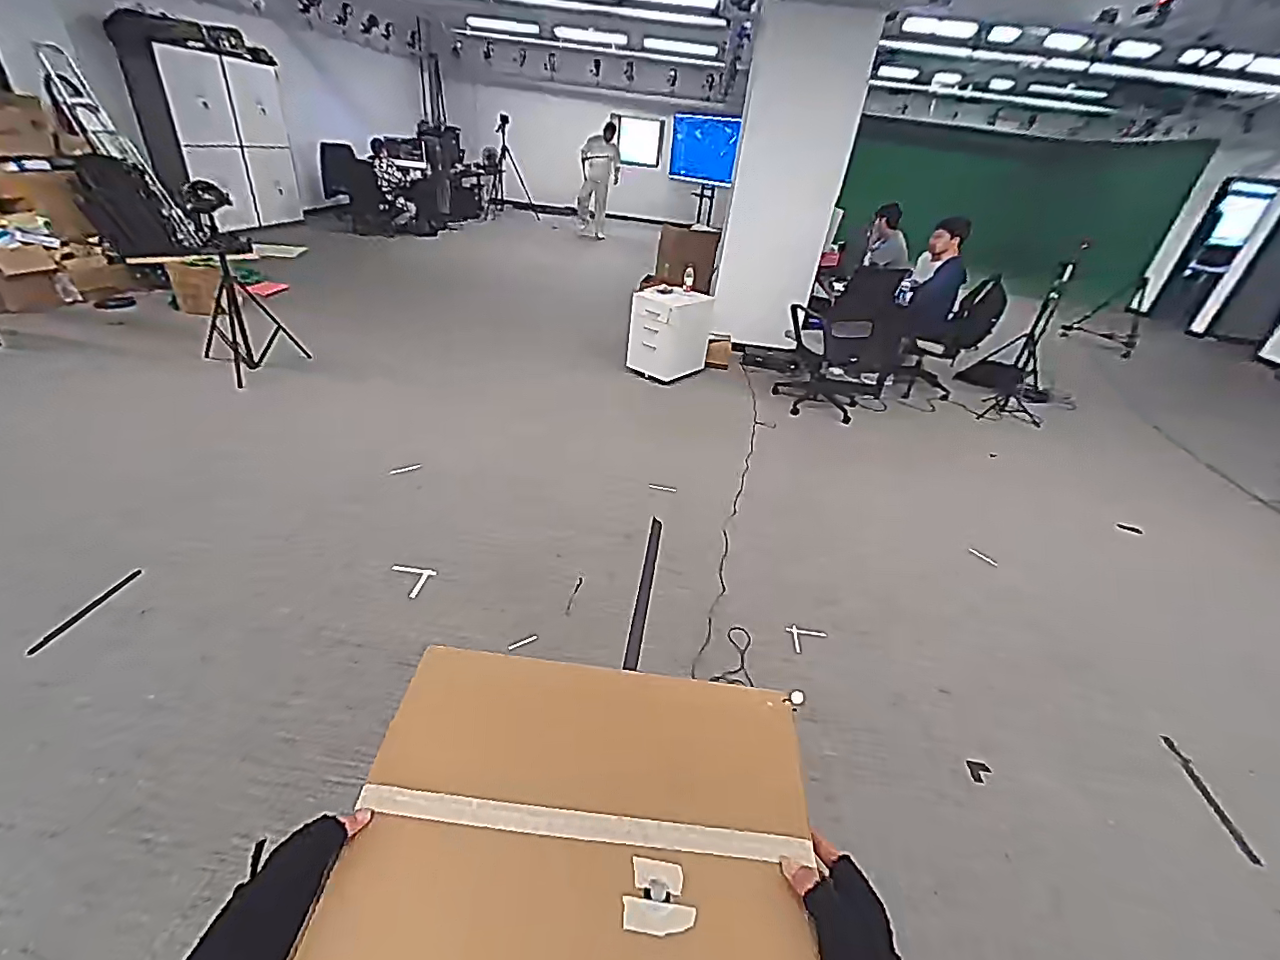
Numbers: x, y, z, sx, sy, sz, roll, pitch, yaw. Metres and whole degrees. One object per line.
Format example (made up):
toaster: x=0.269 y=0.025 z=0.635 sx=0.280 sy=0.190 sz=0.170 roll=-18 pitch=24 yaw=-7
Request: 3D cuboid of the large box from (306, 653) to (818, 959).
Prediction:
large box: x=-0.063 y=0.427 z=0.586 sx=0.408 sy=0.320 sz=0.320 roll=8 pitch=40 yaw=0
